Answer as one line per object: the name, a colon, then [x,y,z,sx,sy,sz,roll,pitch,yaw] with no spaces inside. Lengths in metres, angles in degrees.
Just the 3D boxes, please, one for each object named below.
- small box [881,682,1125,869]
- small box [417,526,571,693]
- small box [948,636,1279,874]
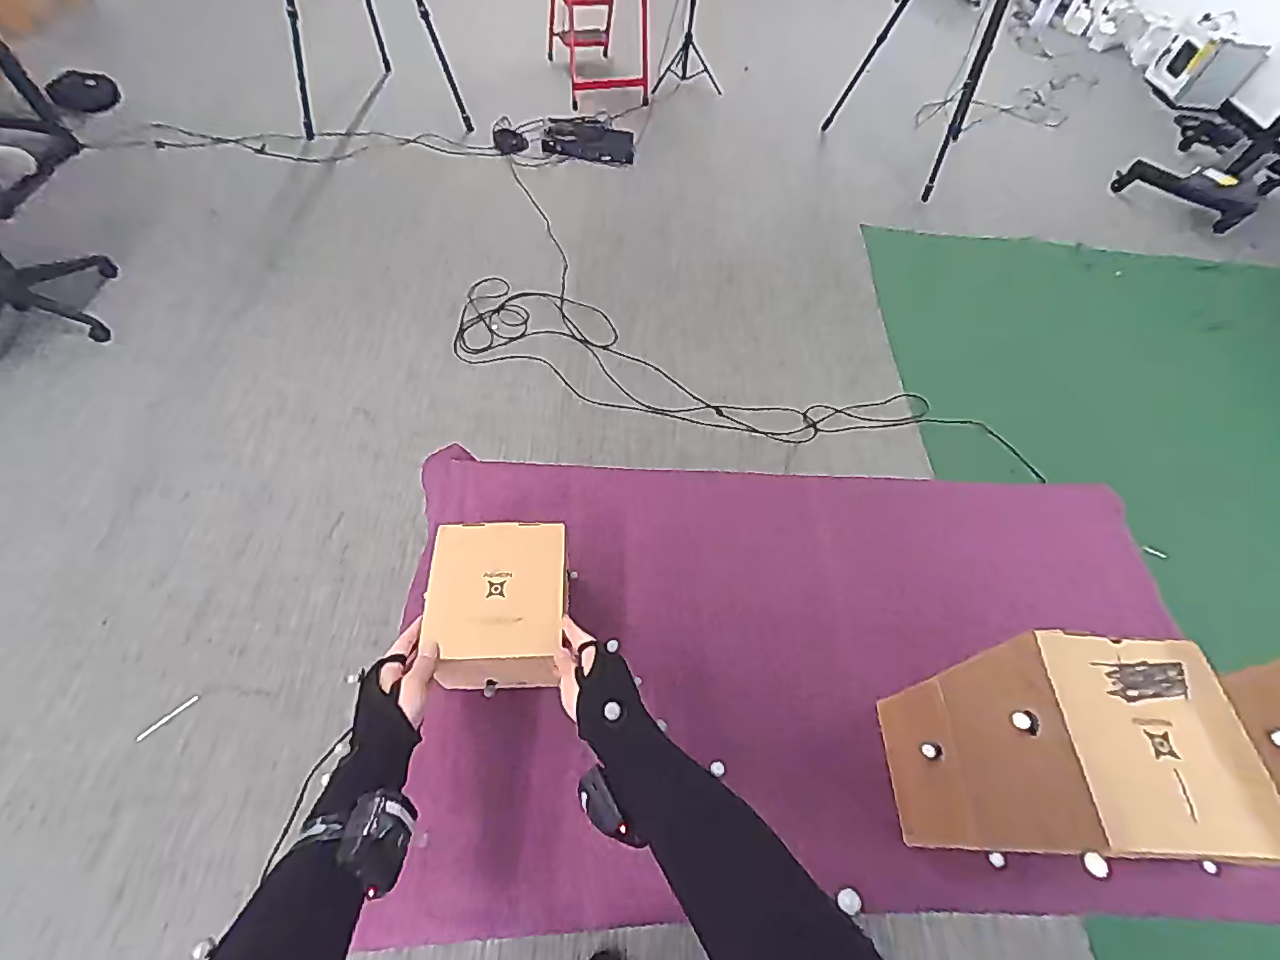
small box: [0.424,0.364,0.664,0.168,0.176,0.179,4,55,-2]
small box: [-0.181,0.178,0.728,0.168,0.176,0.179,0,58,-4]
small box: [0.438,0.271,0.529,0.168,0.176,0.179,5,56,-2]
